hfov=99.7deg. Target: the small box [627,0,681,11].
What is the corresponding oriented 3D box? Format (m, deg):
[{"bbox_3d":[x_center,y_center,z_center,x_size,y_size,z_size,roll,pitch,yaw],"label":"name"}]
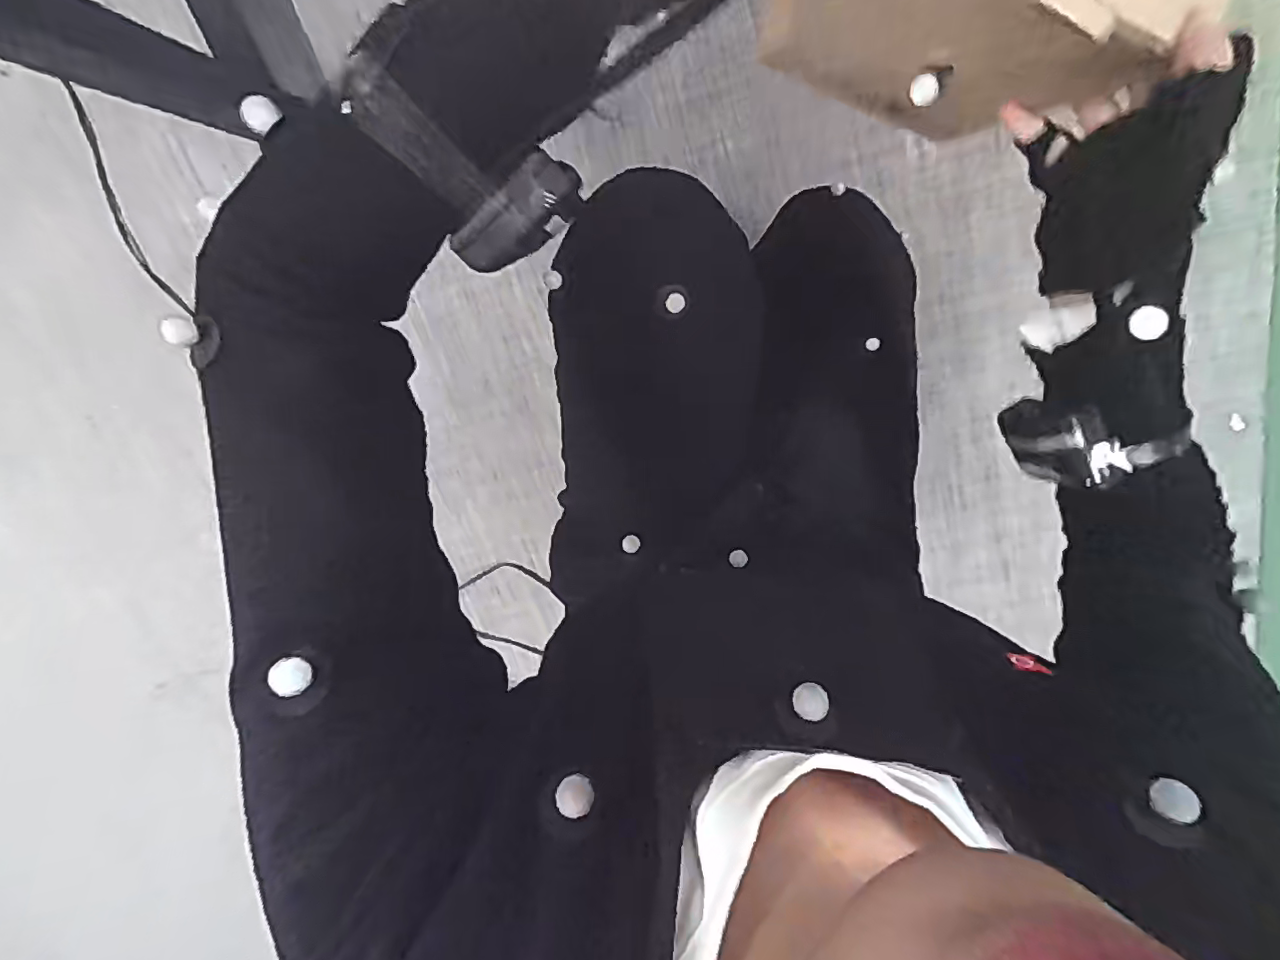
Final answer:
[{"bbox_3d":[0.039,-0.628,0.550,0.168,0.176,0.179,-13,107,10],"label":"small box"}]
